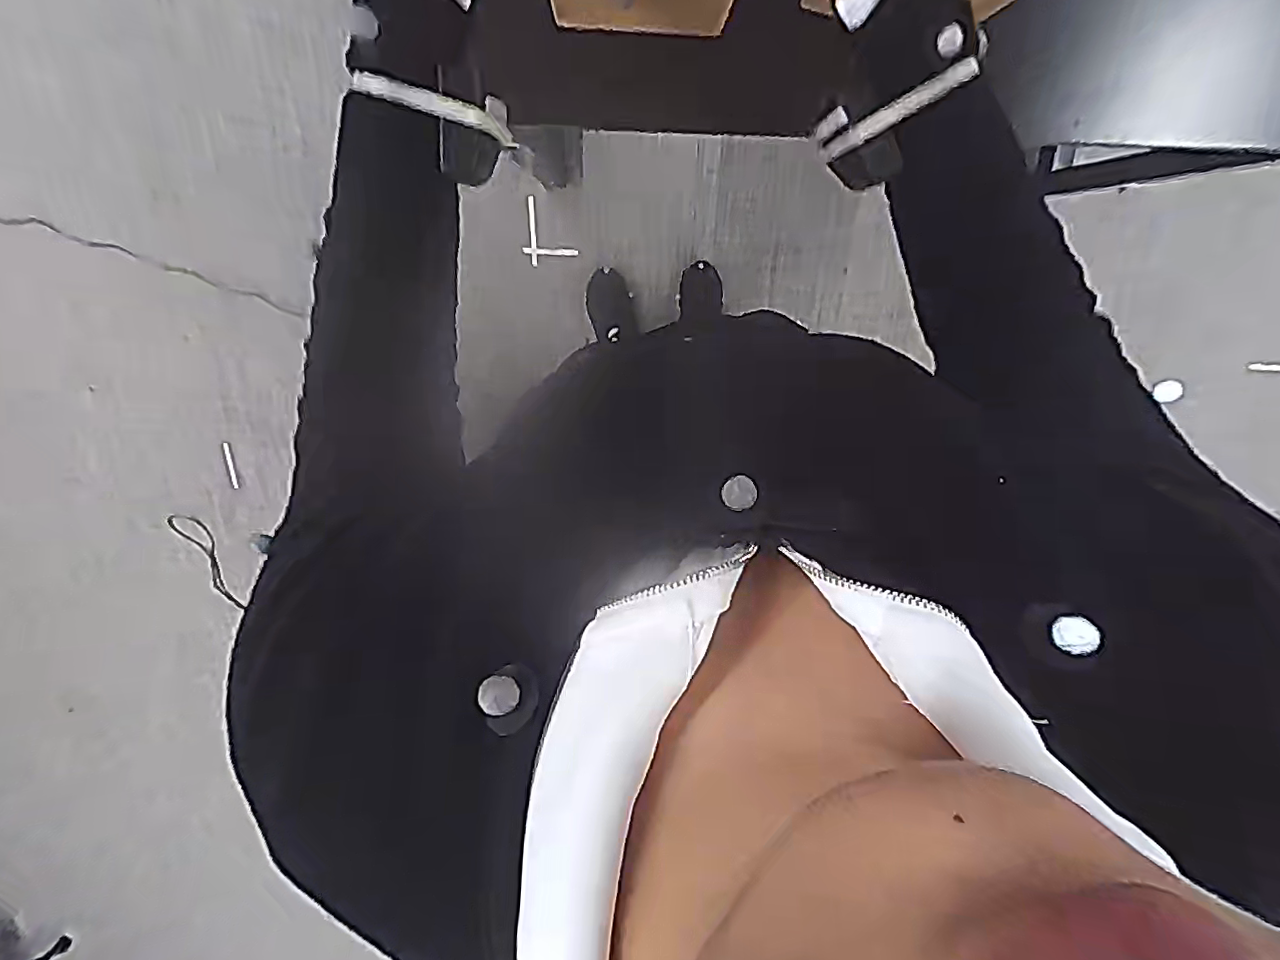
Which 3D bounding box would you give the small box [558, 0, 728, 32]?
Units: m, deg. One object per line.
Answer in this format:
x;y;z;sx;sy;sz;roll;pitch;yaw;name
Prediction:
0.005;-0.526;0.473;0.179;0.176;0.168;2;112;-1;small box

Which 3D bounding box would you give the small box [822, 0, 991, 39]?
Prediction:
0.267;-0.534;0.473;0.168;0.176;0.179;11;111;-5;small box
